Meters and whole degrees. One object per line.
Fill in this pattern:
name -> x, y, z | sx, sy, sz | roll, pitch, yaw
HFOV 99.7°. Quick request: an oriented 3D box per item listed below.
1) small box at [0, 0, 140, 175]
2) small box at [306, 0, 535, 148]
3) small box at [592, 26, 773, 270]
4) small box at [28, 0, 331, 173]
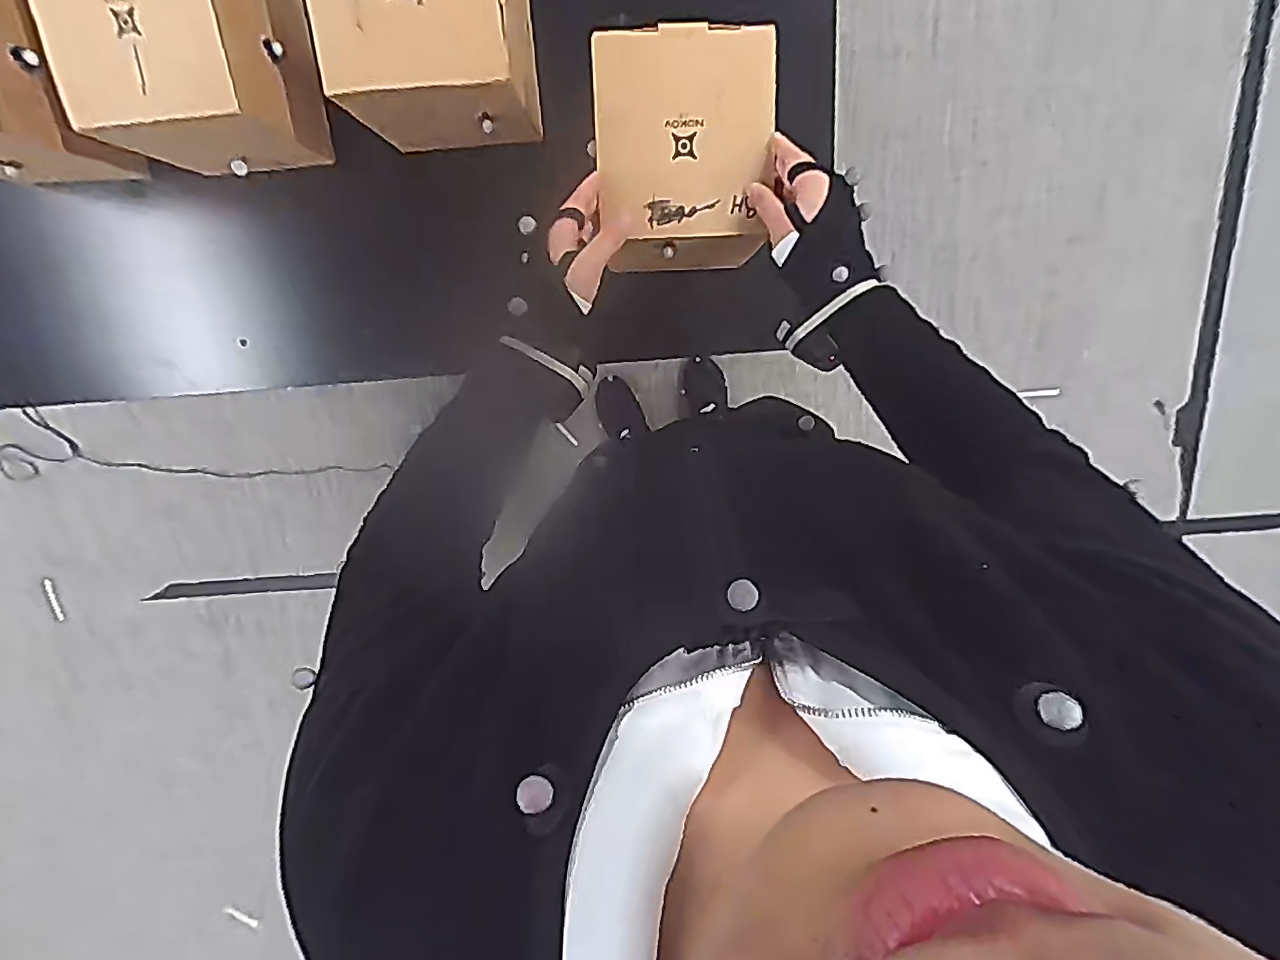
small box -> -0.682, -0.430, 0.561 | 0.168, 0.176, 0.179 | -2, 105, 0
small box -> -0.211, -0.462, 0.553 | 0.179, 0.176, 0.168 | -4, 104, 2
small box -> 0.039, -0.331, 0.574 | 0.168, 0.176, 0.179 | -2, 102, 1
small box -> -0.458, -0.441, 0.557 | 0.168, 0.176, 0.179 | -5, 107, 1
